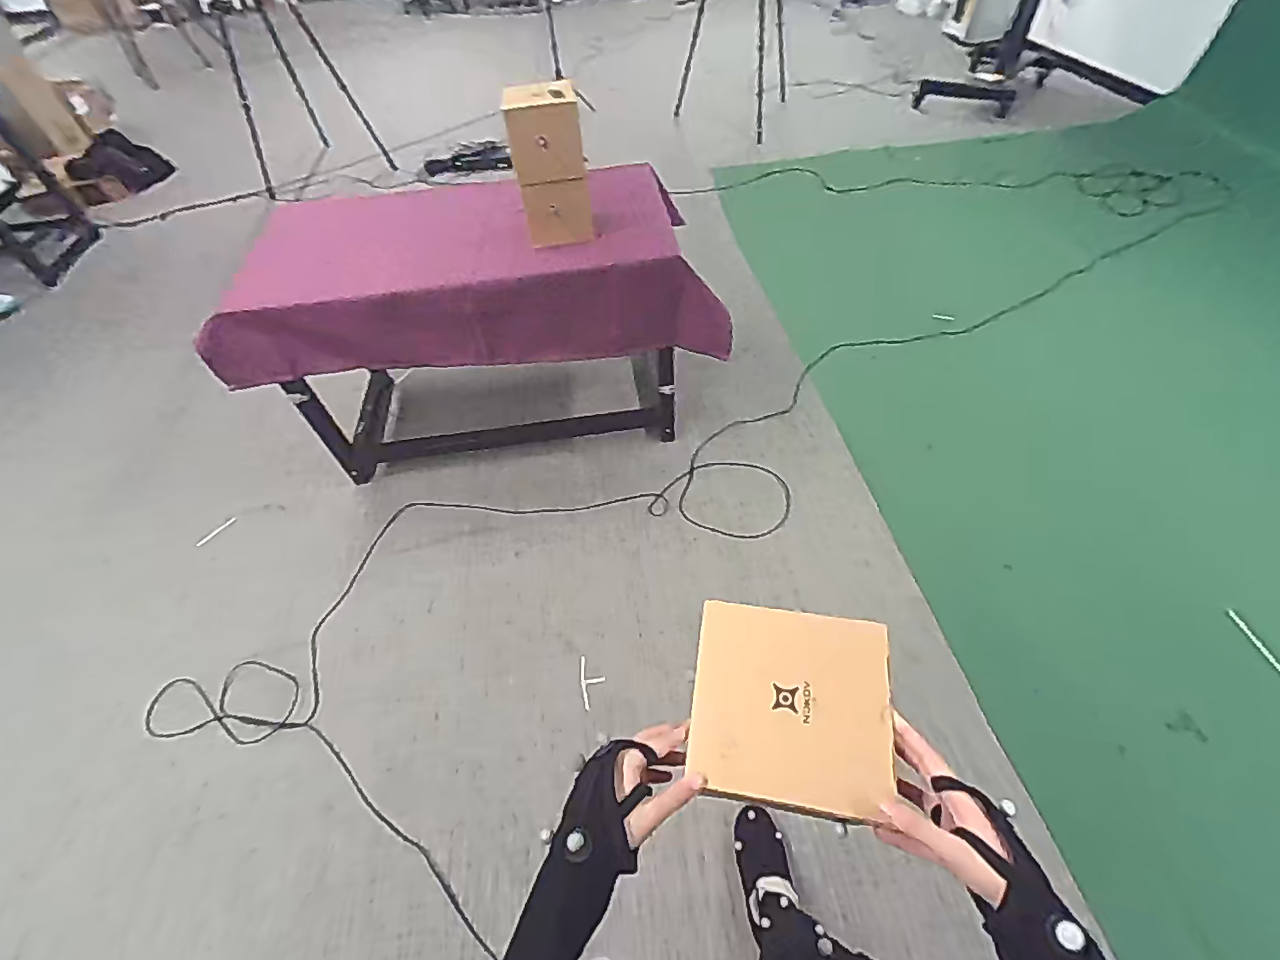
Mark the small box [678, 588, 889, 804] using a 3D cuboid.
[{"bbox_3d":[0.139,0.227,0.559,0.179,0.176,0.168,5,59,9],"label":"small box"}]

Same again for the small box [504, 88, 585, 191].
[{"bbox_3d":[-0.236,-0.856,1.362,0.179,0.176,0.168,-10,50,-2],"label":"small box"}]

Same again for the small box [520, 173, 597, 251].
[{"bbox_3d":[-0.225,-0.755,1.492,0.179,0.176,0.168,-11,51,-3],"label":"small box"}]
